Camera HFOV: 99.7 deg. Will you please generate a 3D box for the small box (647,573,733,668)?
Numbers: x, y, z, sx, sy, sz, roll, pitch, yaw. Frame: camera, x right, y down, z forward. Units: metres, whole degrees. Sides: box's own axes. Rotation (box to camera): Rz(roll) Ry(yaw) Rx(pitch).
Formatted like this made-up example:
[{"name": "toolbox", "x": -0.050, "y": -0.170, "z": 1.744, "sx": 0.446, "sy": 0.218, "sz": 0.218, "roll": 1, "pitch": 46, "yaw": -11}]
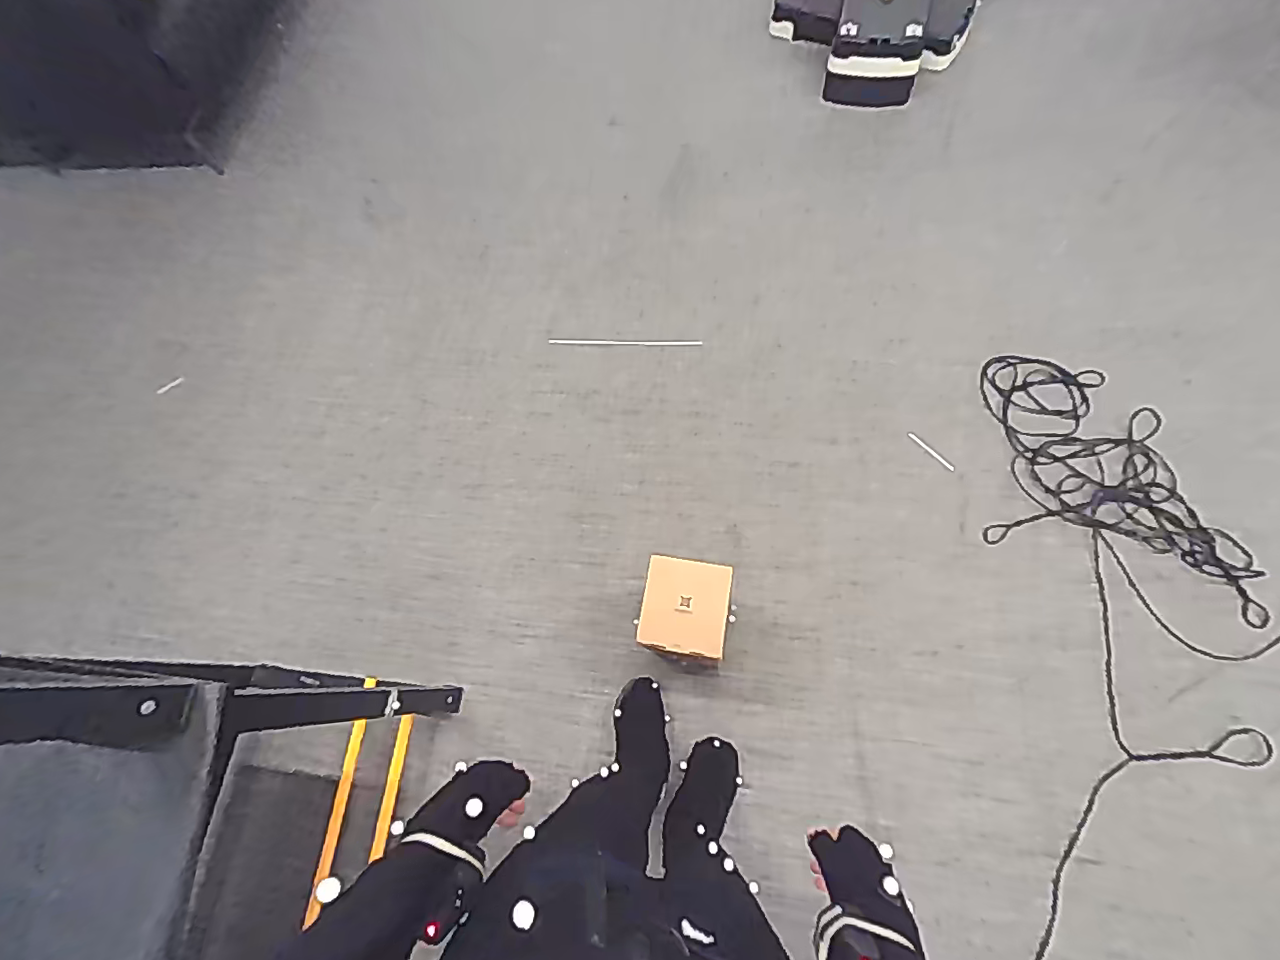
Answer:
[{"name": "small box", "x": 0.121, "y": 0.333, "z": 1.270, "sx": 0.168, "sy": 0.176, "sz": 0.179, "roll": 9, "pitch": 71, "yaw": 12}]
